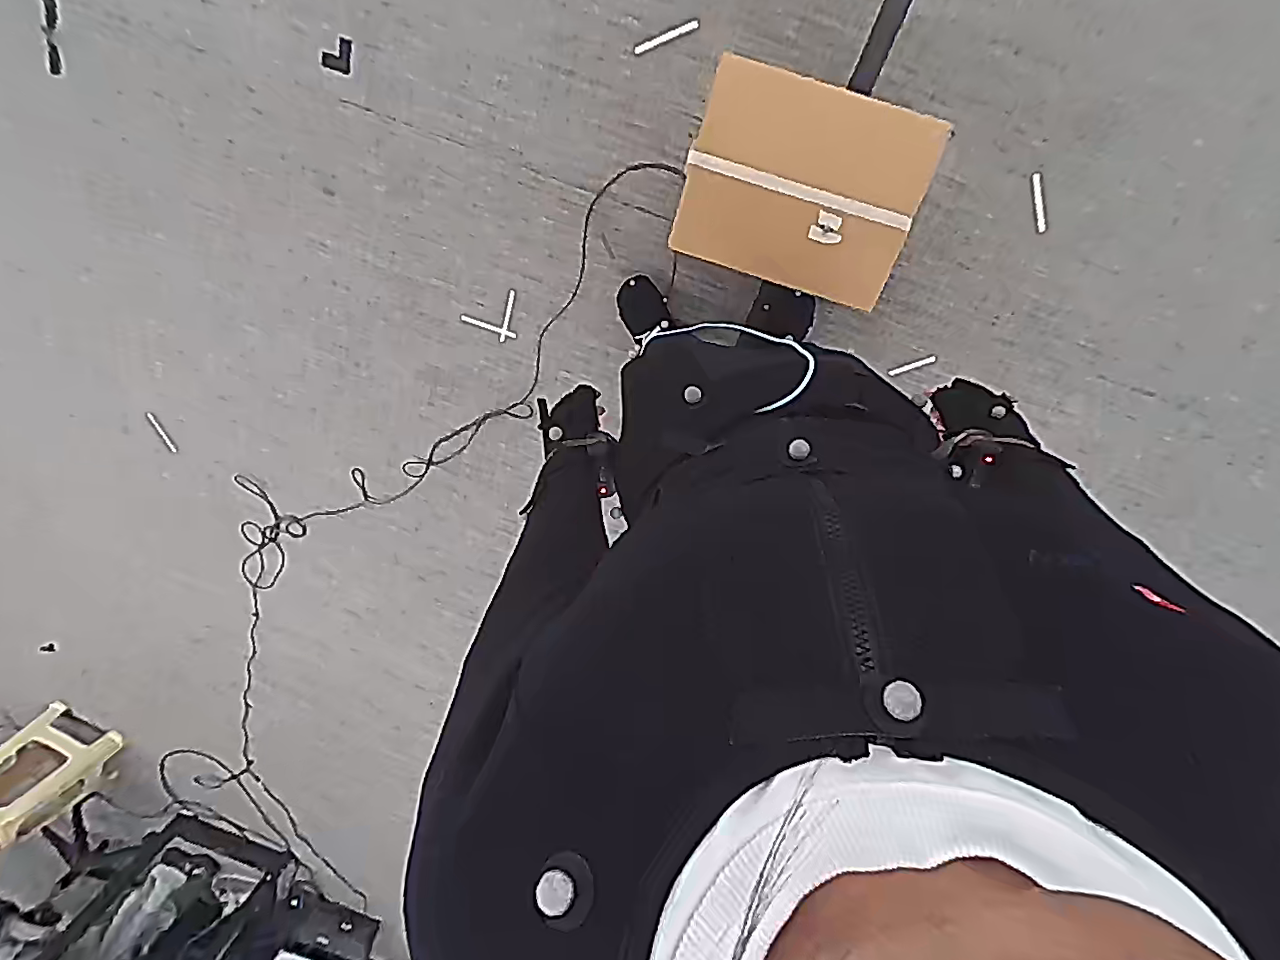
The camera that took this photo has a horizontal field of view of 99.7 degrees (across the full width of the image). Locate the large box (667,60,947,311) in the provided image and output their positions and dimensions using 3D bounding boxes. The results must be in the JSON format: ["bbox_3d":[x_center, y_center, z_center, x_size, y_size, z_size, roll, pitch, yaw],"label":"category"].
[{"bbox_3d":[0.295,-0.563,1.087,0.408,0.320,0.320,18,115,0],"label":"large box"}]
